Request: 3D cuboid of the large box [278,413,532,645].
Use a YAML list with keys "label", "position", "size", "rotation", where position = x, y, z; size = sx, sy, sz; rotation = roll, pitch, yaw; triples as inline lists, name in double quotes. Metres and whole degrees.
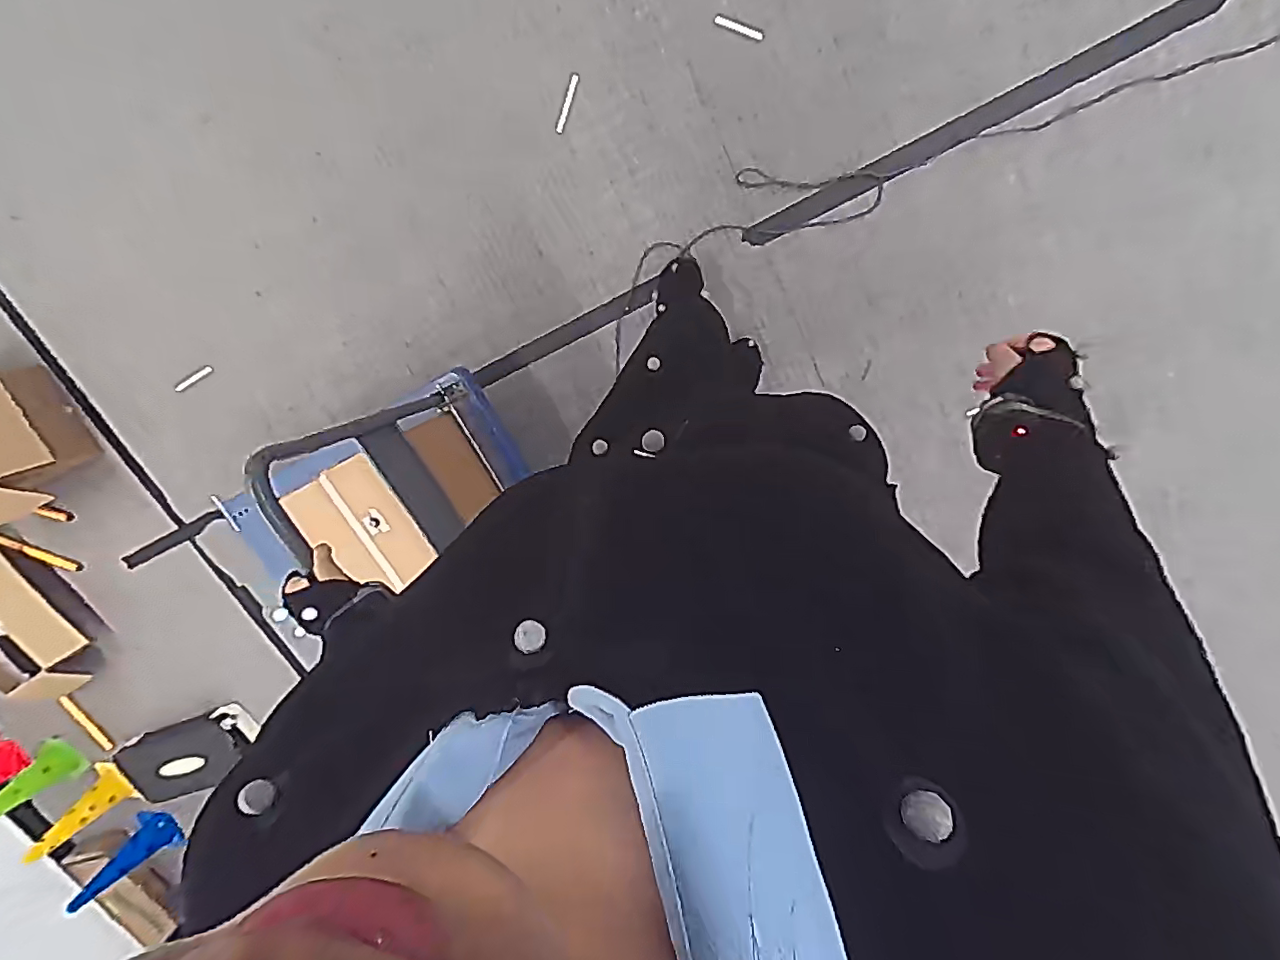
- label: "large box"
  position: [-0.526, 0.105, 1.293]
  size: [0.320, 0.320, 0.408]
  rotation: [-25, 103, 16]
